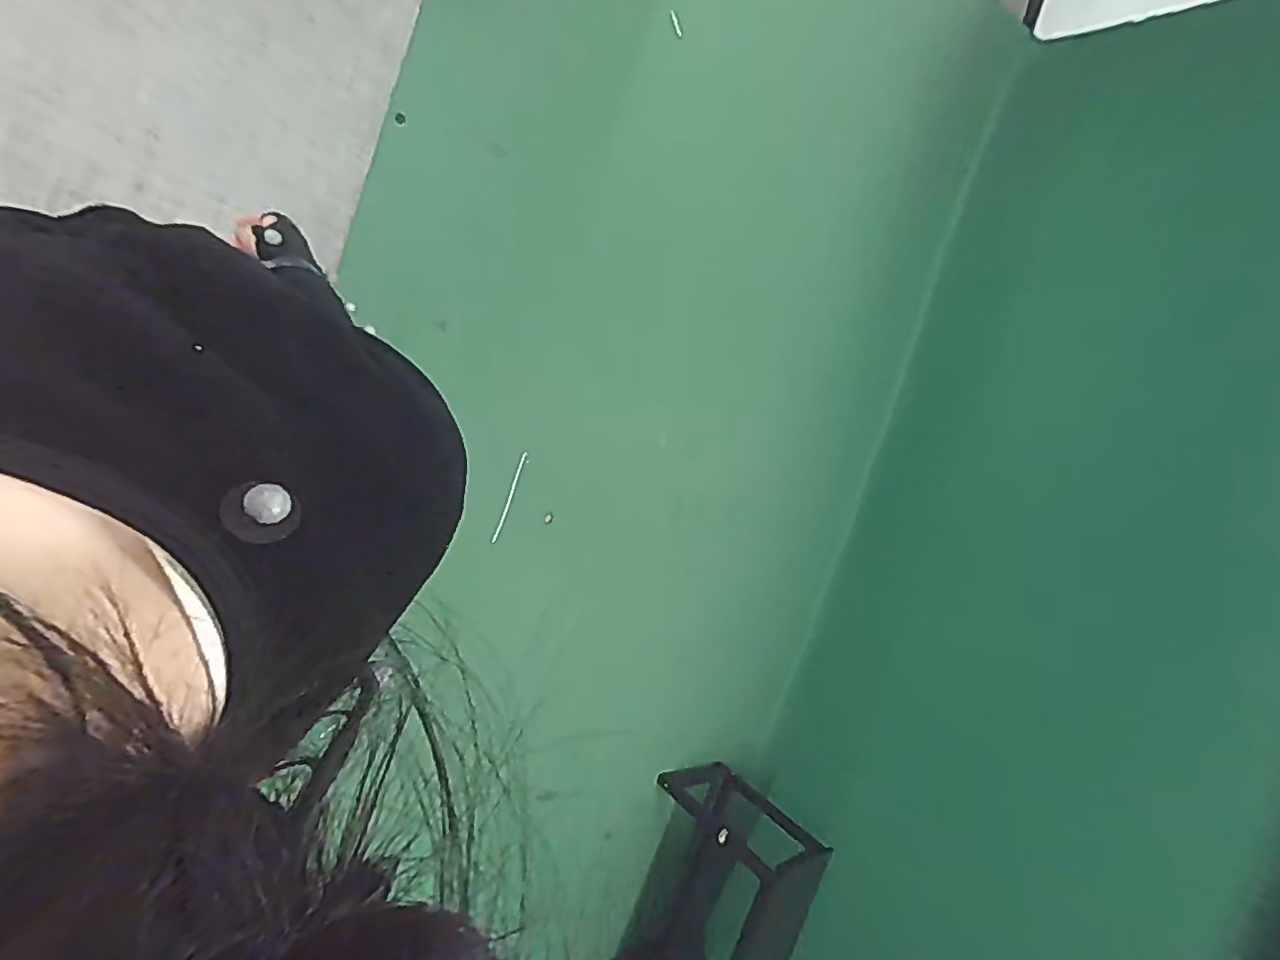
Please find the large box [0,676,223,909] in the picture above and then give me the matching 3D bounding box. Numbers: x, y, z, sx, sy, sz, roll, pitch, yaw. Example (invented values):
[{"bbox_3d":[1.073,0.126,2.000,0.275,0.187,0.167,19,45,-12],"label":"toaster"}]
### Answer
[{"bbox_3d":[-1.142,0.668,1.120,0.408,0.320,0.320,-3,108,-44],"label":"large box"}]
